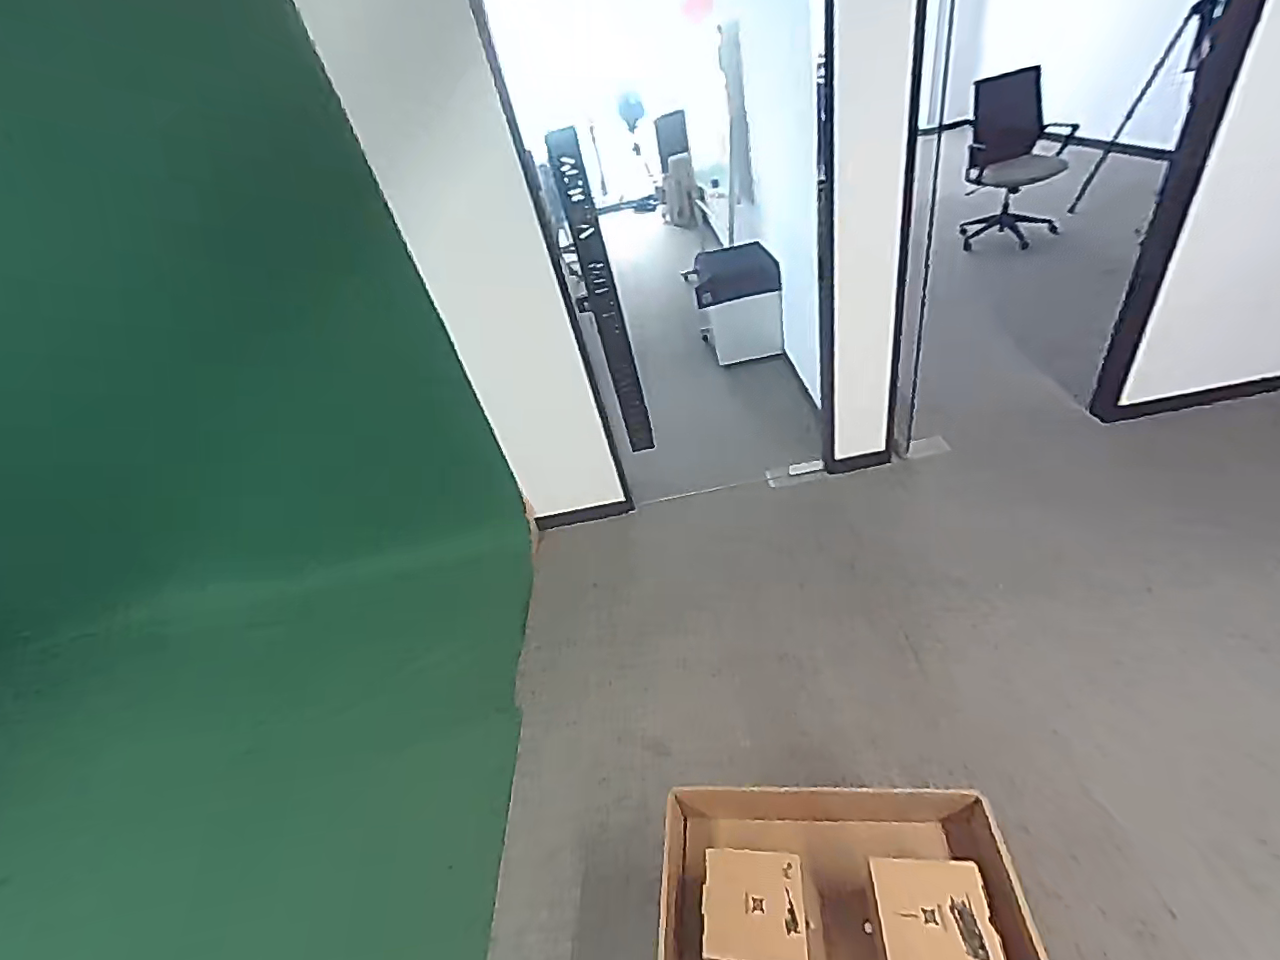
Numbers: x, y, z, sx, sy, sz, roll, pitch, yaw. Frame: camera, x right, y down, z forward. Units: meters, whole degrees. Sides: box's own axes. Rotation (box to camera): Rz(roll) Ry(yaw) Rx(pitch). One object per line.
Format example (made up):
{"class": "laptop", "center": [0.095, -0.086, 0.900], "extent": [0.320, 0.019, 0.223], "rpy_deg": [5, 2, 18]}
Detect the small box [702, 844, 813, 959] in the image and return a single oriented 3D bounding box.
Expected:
{"class": "small box", "center": [0.219, 0.799, 0.992], "extent": [0.179, 0.176, 0.168], "rpy_deg": [-6, 37, 15]}
